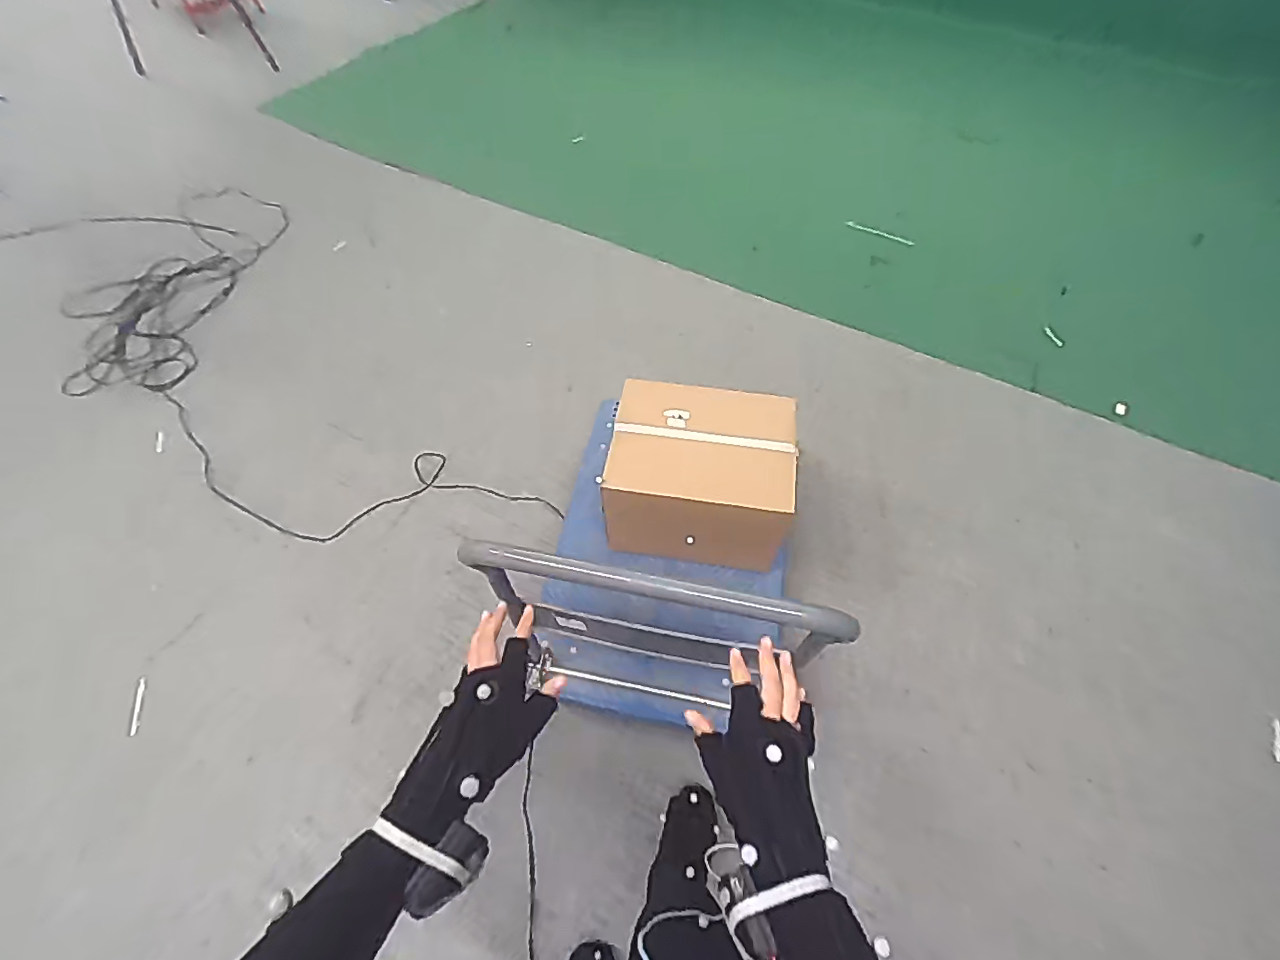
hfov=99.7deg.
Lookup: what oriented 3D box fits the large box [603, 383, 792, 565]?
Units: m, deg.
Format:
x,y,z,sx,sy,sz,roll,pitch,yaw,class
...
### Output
x,y,z,sx,sy,sz,roll,pitch,yaw,class
0.141,-0.006,1.329,0.408,0.320,0.320,7,57,5,large box
